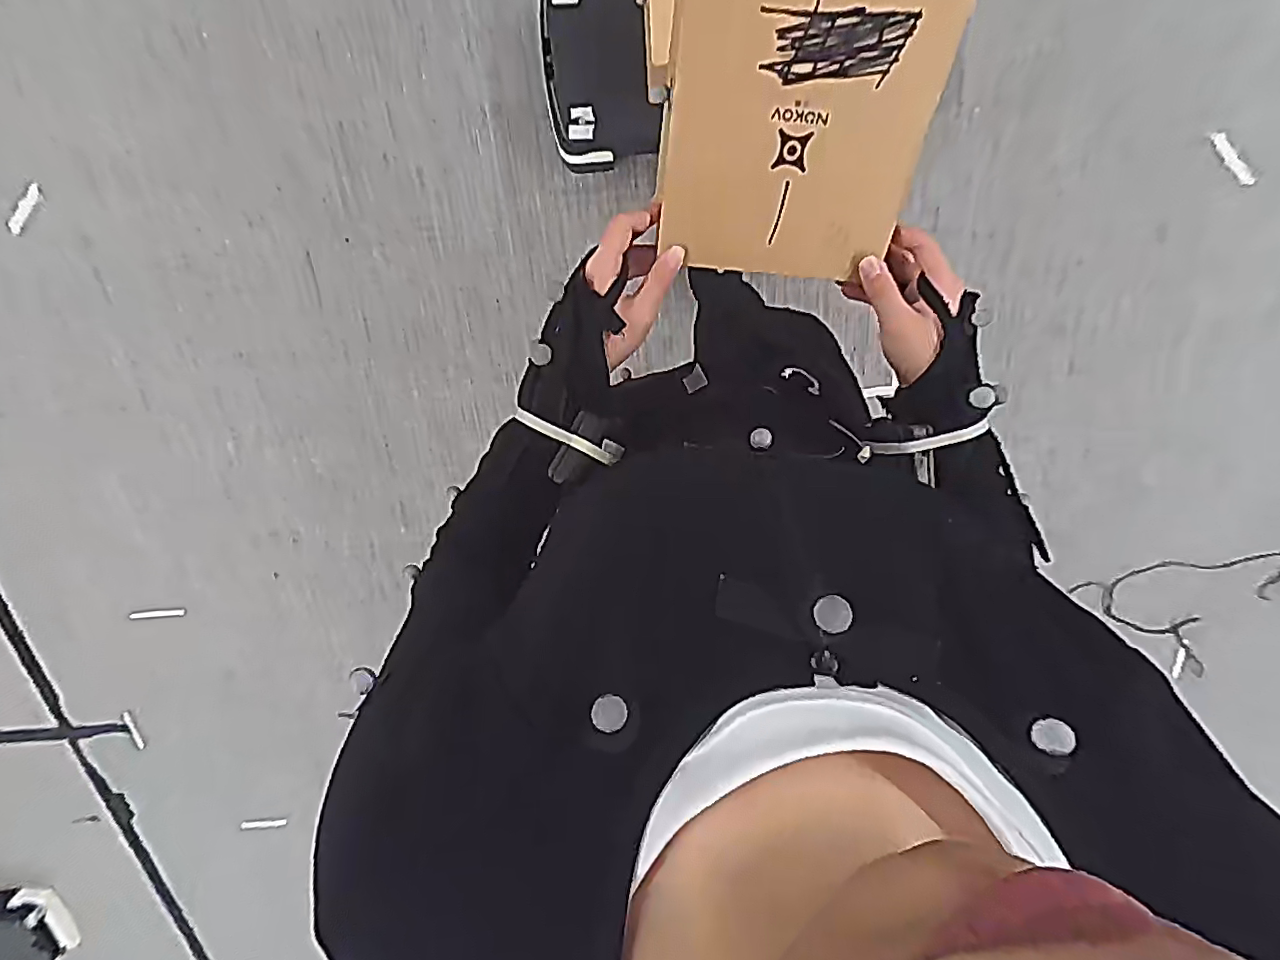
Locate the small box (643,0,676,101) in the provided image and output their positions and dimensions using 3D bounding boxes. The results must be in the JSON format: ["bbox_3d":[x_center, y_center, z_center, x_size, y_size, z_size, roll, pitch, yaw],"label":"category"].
[{"bbox_3d":[0.091,-0.729,0.850,0.168,0.176,0.179,-3,109,1],"label":"small box"}]

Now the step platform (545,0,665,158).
[{"bbox_3d":[0.170,-0.809,1.007,0.684,0.204,0.286,-5,109,2],"label":"step platform"}]

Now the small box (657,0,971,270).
[{"bbox_3d":[0.103,-0.278,0.409,0.168,0.176,0.179,5,127,-3],"label":"small box"}]
